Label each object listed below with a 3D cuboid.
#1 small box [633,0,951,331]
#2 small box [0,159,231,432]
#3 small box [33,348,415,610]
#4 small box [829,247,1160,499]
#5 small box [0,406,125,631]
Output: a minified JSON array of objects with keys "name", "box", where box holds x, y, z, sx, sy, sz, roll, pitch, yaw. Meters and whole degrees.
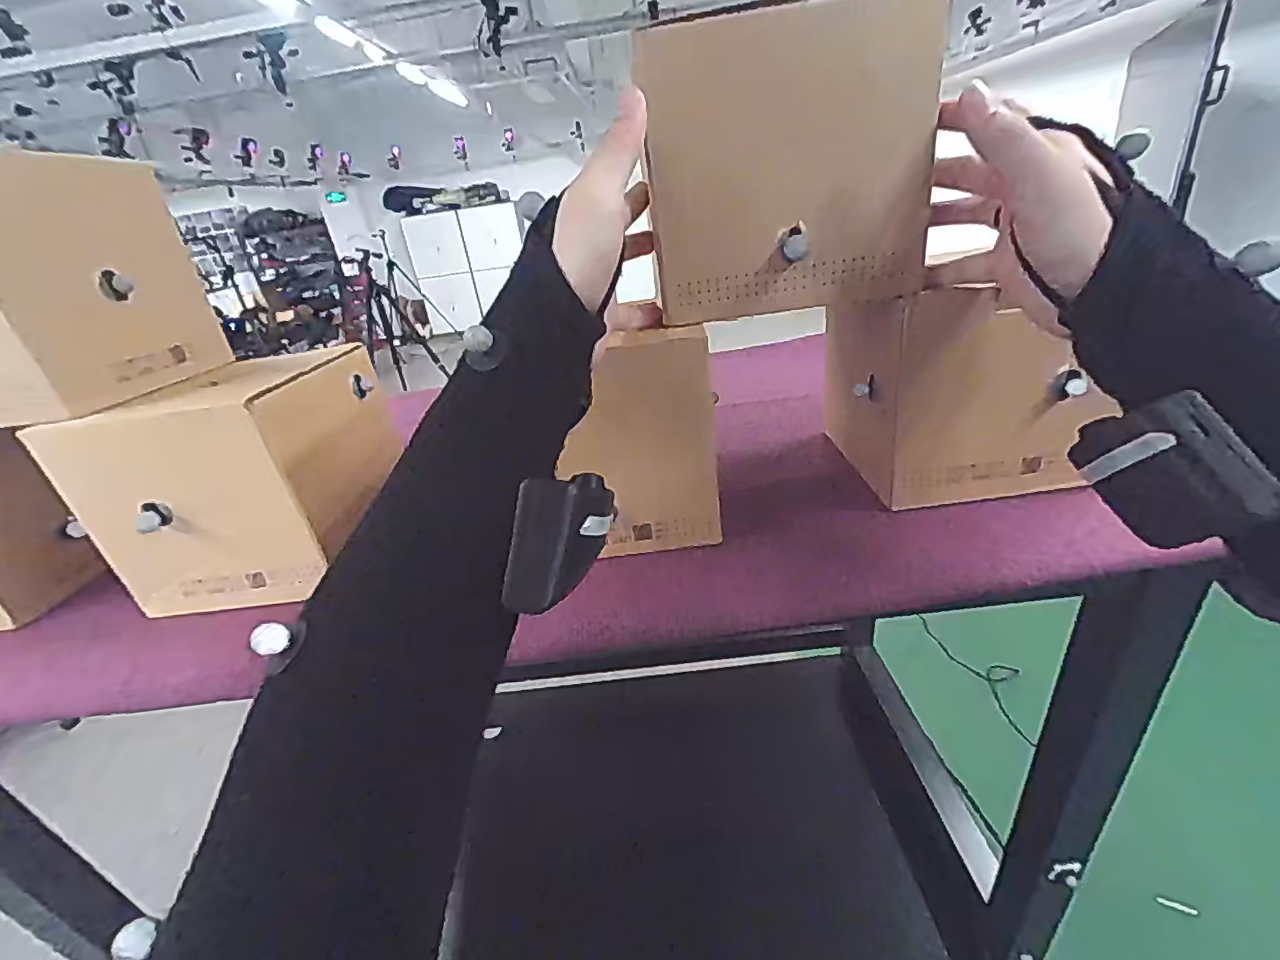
[{"name":"small box","box":[0.092,-0.218,0.400,0.179,0.176,0.168,-7,26,3]},{"name":"small box","box":[-0.475,-0.138,0.415,0.179,0.176,0.168,-6,26,4]},{"name":"small box","box":[-0.323,-0.002,0.472,0.168,0.176,0.179,-8,25,4]},{"name":"small box","box":[0.268,-0.092,0.462,0.168,0.176,0.179,-6,26,4]},{"name":"small box","box":[-0.603,0.028,0.490,0.179,0.176,0.168,-6,26,3]}]
